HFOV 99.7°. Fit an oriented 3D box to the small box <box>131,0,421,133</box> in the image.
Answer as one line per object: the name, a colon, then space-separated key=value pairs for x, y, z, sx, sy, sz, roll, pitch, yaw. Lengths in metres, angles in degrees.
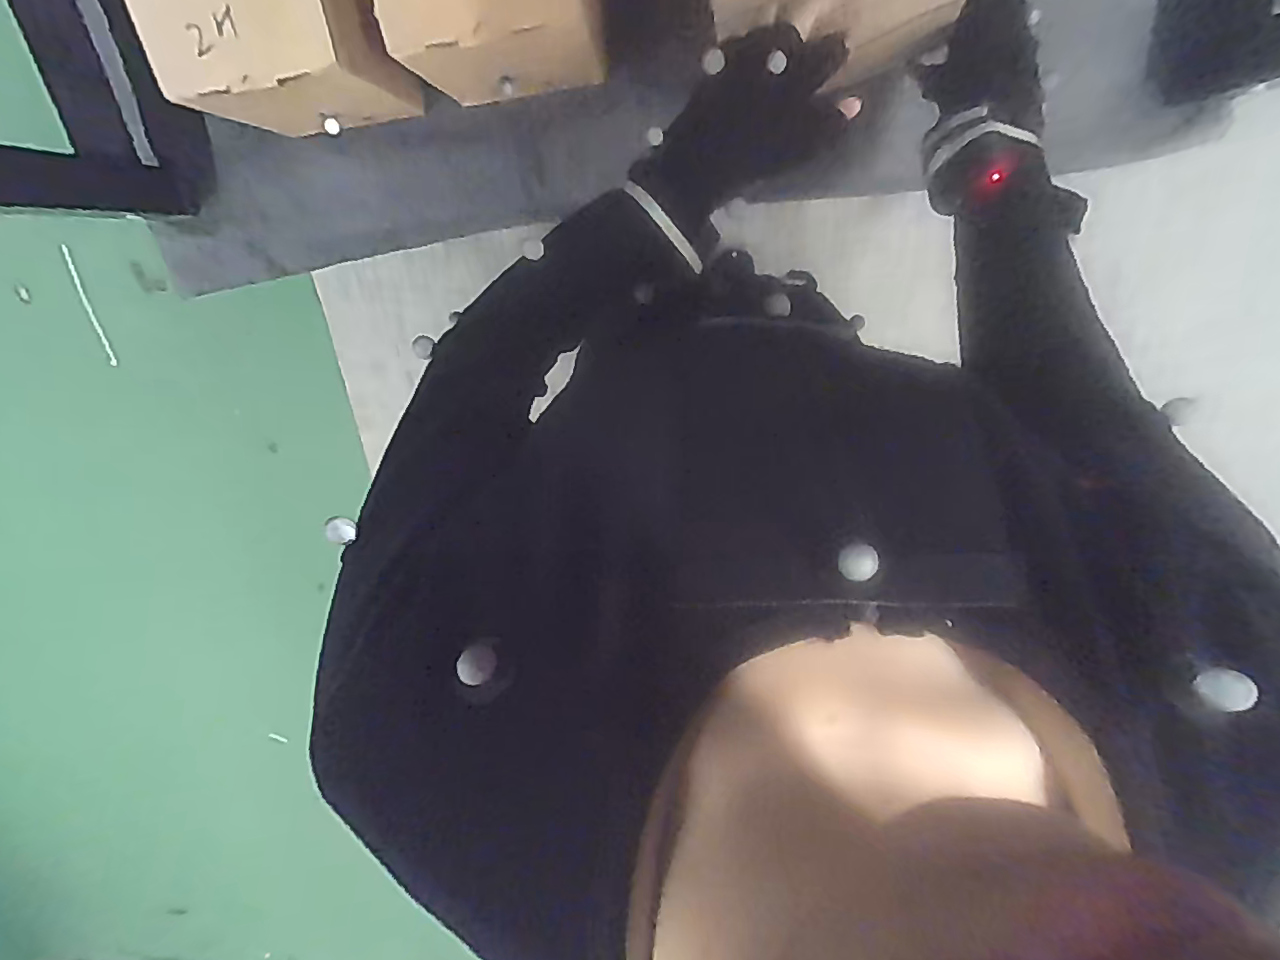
small box: x=-0.333 y=-0.450 z=0.502 sx=0.168 sy=0.176 sz=0.179 roll=-5 pitch=112 yaw=6
